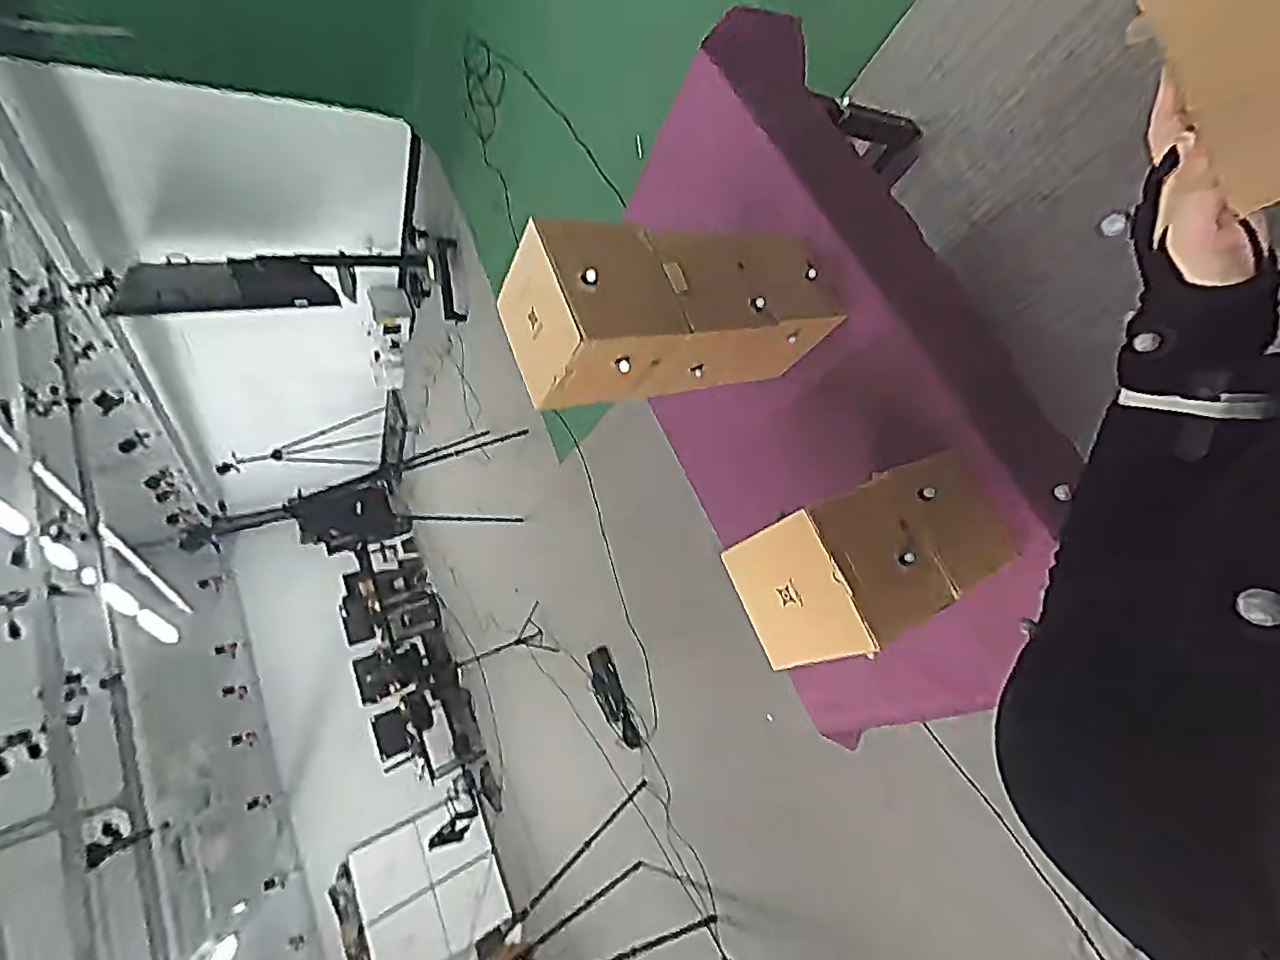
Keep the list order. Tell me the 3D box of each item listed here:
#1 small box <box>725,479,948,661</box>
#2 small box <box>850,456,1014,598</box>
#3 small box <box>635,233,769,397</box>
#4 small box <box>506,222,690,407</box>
[{"bbox_3d":[0.249,0.116,0.702,0.179,0.176,0.168,-44,65,53],"label":"small box"},{"bbox_3d":[0.386,0.077,0.782,0.168,0.176,0.179,-46,63,54],"label":"small box"},{"bbox_3d":[0.072,-0.250,0.827,0.179,0.176,0.168,-41,68,55],"label":"small box"},{"bbox_3d":[-0.059,-0.221,0.735,0.168,0.176,0.179,-38,70,54],"label":"small box"}]
